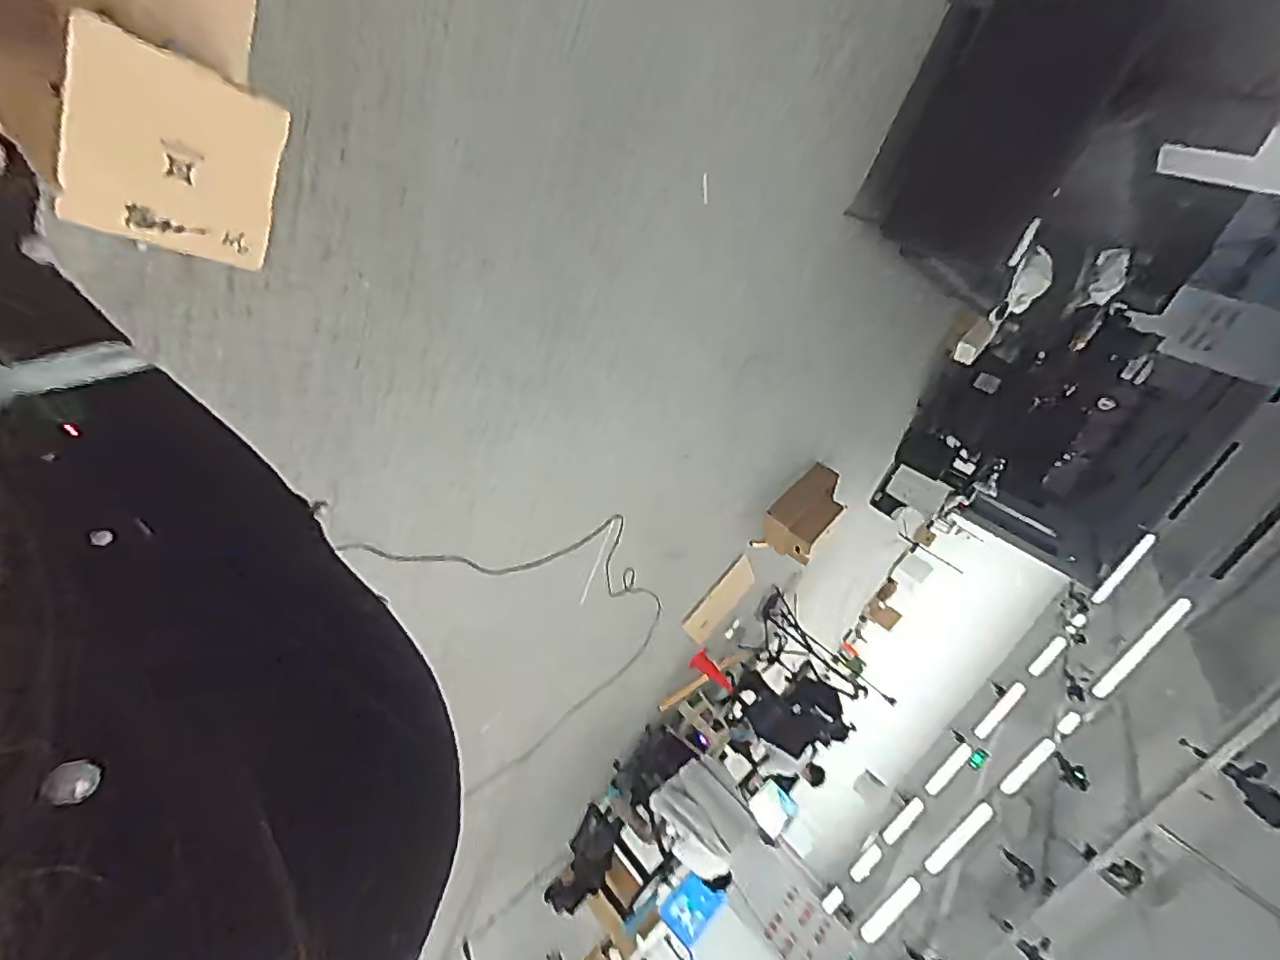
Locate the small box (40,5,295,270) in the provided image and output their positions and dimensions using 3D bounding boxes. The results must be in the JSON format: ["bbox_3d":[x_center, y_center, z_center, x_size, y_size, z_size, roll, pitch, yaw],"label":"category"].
[{"bbox_3d":[-0.502,-0.354,0.573,0.168,0.176,0.179,0,119,-53],"label":"small box"}]
